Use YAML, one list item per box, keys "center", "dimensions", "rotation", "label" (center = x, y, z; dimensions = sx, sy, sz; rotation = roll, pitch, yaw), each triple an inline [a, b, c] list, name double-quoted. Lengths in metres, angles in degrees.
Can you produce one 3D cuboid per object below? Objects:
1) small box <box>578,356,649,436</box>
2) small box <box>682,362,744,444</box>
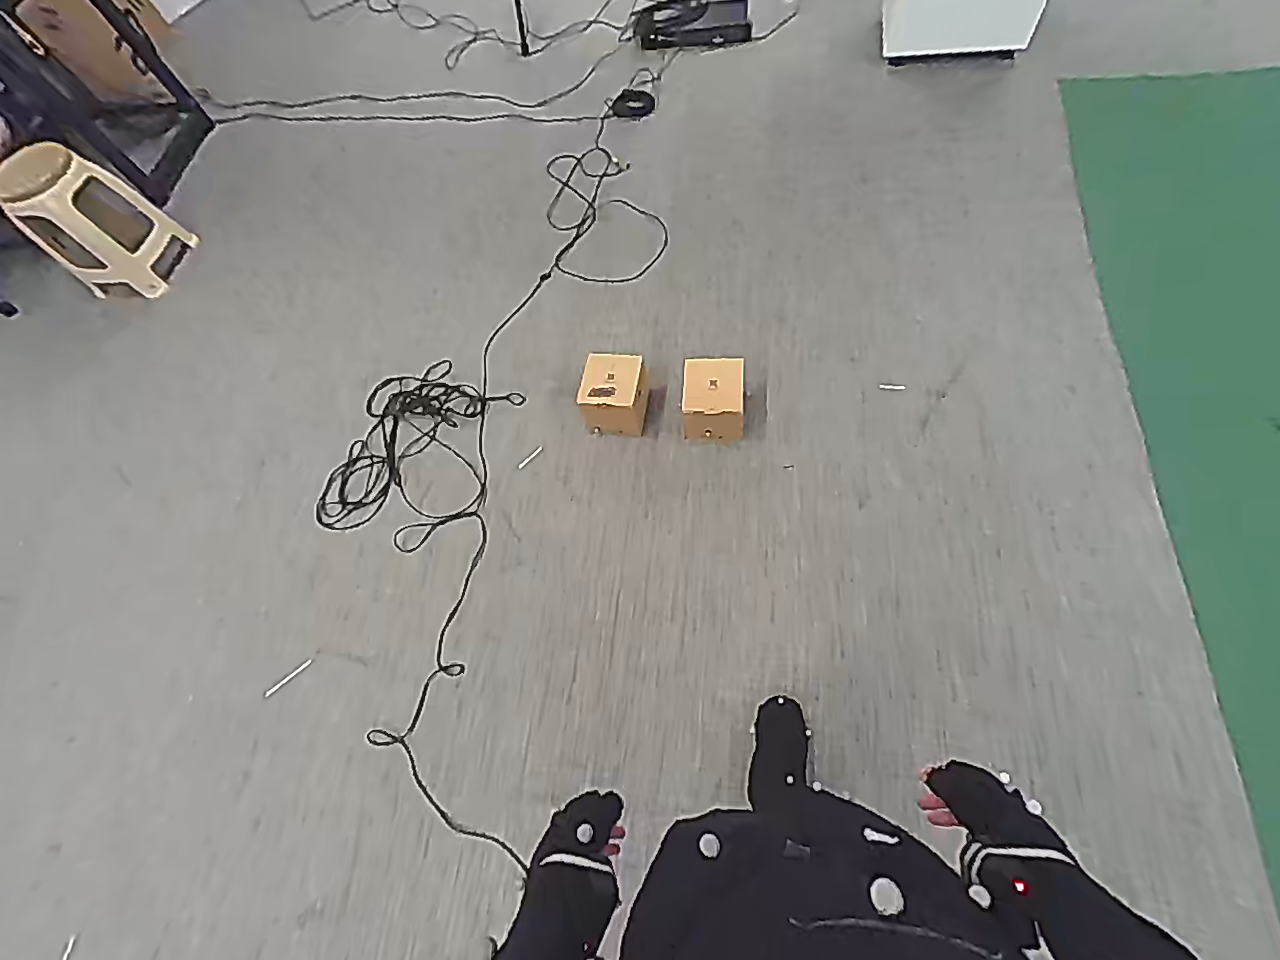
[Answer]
- center: [-0.072, -0.246, 1.618]
  dimensions: [0.168, 0.176, 0.179]
  rotation: [6, 66, 11]
  label: "small box"
- center: [0.213, -0.221, 1.564]
  dimensions: [0.168, 0.176, 0.179]
  rotation: [1, 66, 10]
  label: "small box"
